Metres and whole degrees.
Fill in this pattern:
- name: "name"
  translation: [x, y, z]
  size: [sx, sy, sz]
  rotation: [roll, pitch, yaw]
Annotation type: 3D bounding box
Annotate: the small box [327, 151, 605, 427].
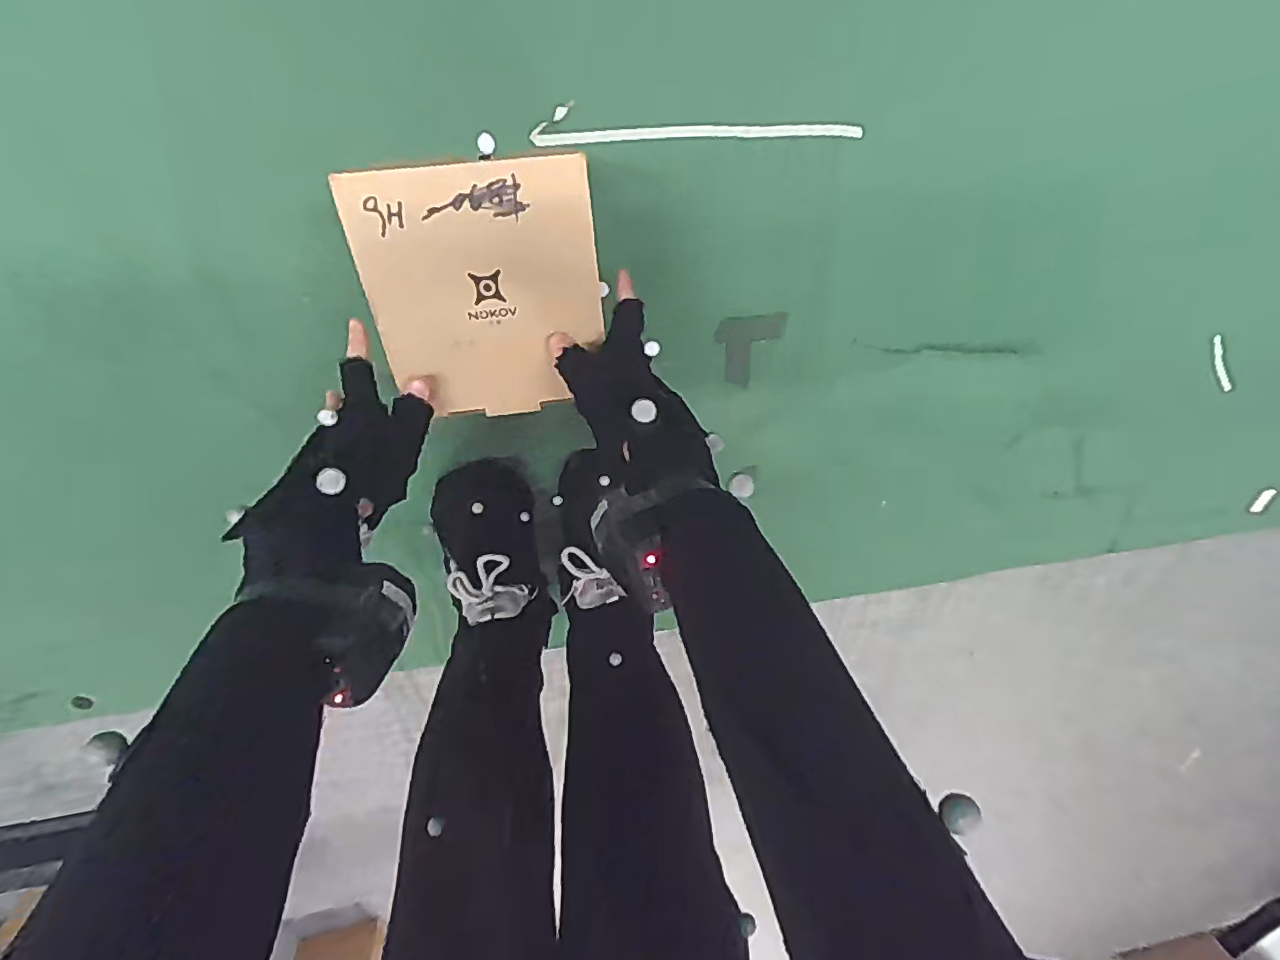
- name: "small box"
  translation: [-0.123, -0.167, 0.455]
  size: [0.168, 0.176, 0.179]
  rotation: [-8, 124, -6]
